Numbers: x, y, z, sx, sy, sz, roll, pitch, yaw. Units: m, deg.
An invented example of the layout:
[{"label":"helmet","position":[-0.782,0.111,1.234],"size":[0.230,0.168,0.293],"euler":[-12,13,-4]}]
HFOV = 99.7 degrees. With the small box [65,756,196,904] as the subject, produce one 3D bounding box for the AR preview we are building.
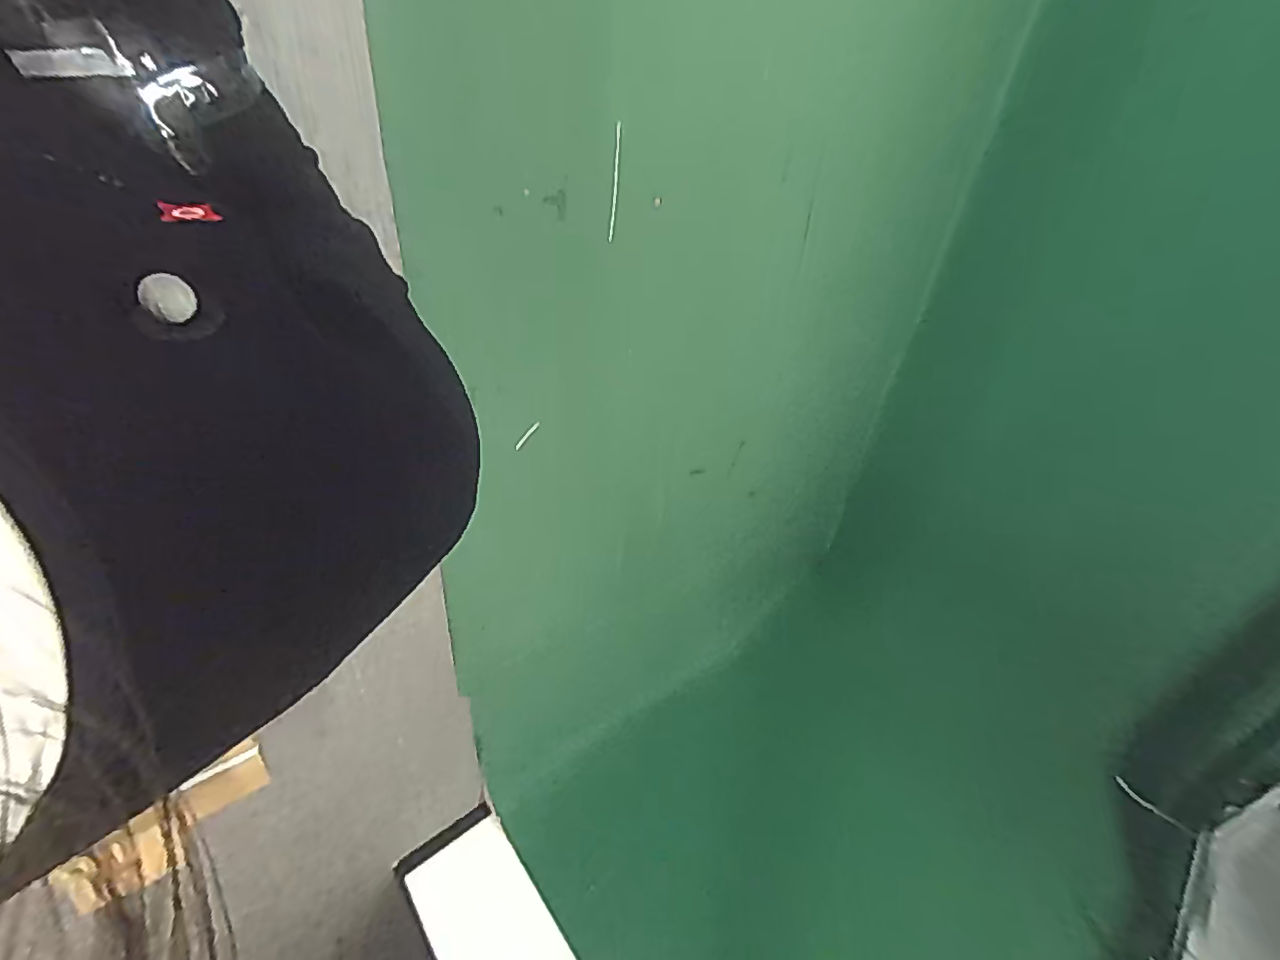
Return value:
[{"label":"small box","position":[-1.095,0.742,1.167],"size":[0.179,0.176,0.168],"euler":[-15,126,-39]}]
